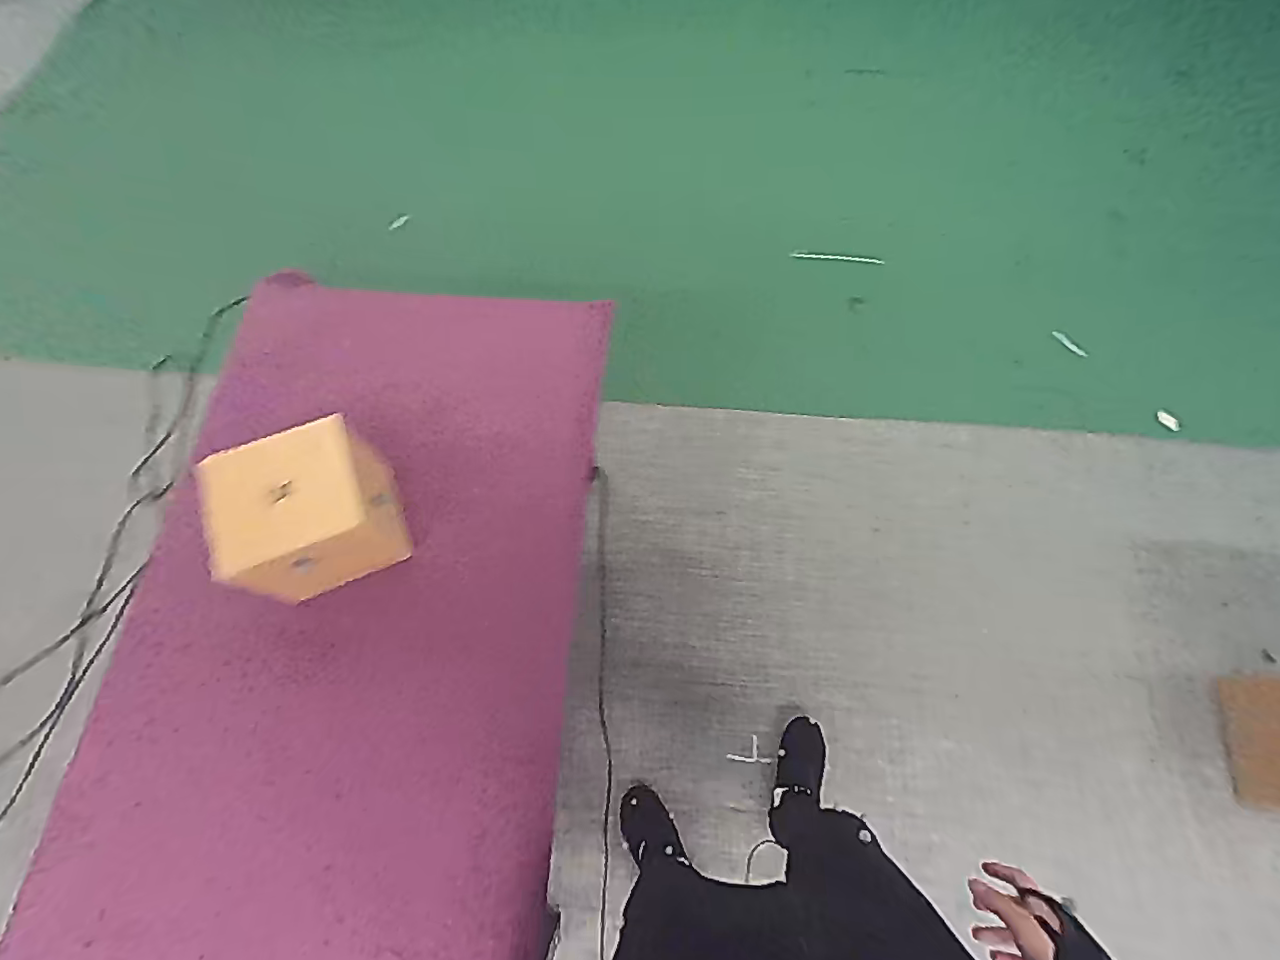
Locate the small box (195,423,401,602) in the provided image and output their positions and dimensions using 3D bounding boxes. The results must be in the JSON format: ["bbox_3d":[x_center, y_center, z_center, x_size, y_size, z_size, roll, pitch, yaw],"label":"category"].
[{"bbox_3d":[-0.453,0.052,0.746,0.179,0.176,0.168,-23,71,-8],"label":"small box"}]
